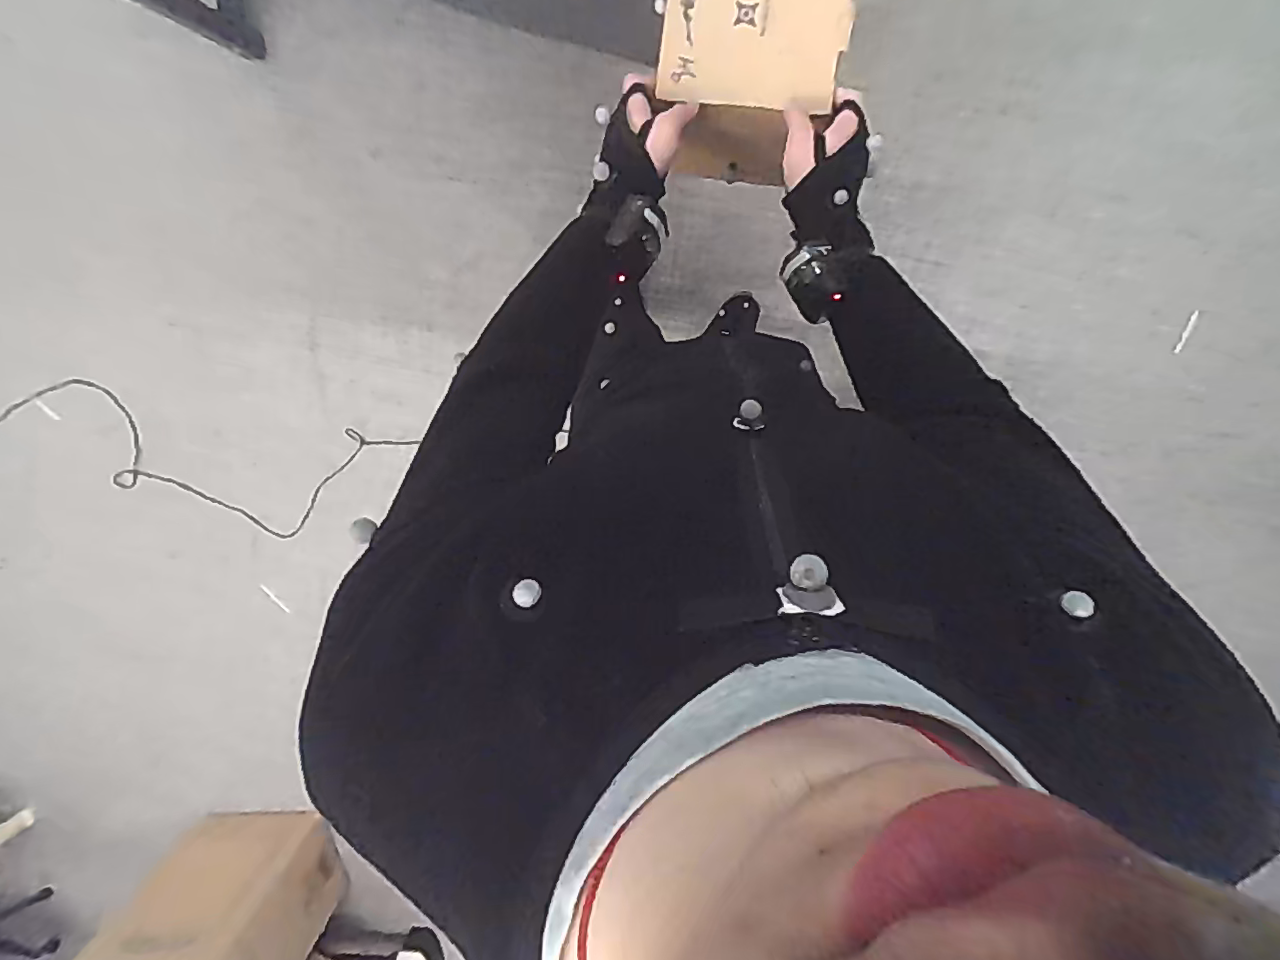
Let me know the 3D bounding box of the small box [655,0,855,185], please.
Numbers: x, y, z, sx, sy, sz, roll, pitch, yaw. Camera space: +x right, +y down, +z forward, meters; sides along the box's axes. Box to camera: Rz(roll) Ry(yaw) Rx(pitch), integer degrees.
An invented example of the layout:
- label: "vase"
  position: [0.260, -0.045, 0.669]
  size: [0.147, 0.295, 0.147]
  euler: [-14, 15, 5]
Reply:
- label: "small box"
  position: [0.114, -0.445, 0.587]
  size: [0.179, 0.176, 0.168]
  euler: [8, 96, 2]
